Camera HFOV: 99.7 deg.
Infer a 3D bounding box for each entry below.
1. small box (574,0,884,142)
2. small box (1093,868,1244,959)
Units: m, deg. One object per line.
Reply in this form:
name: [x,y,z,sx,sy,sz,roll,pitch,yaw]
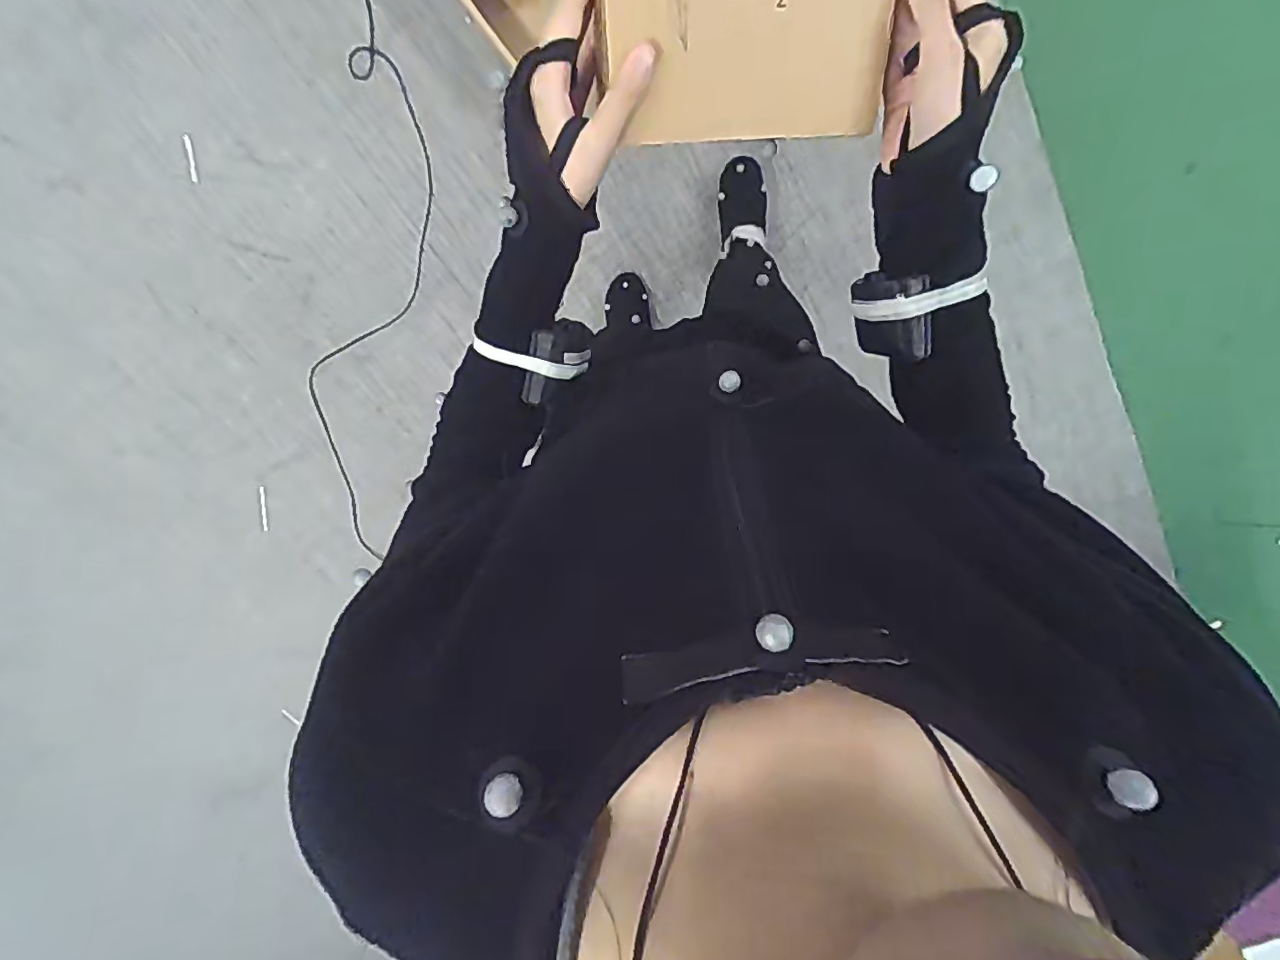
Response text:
small box: [0.048,-0.332,0.367,0.179,0.176,0.168,-6,124,-6]
small box: [1.088,0.952,1.114,0.179,0.176,0.168,-34,110,13]
